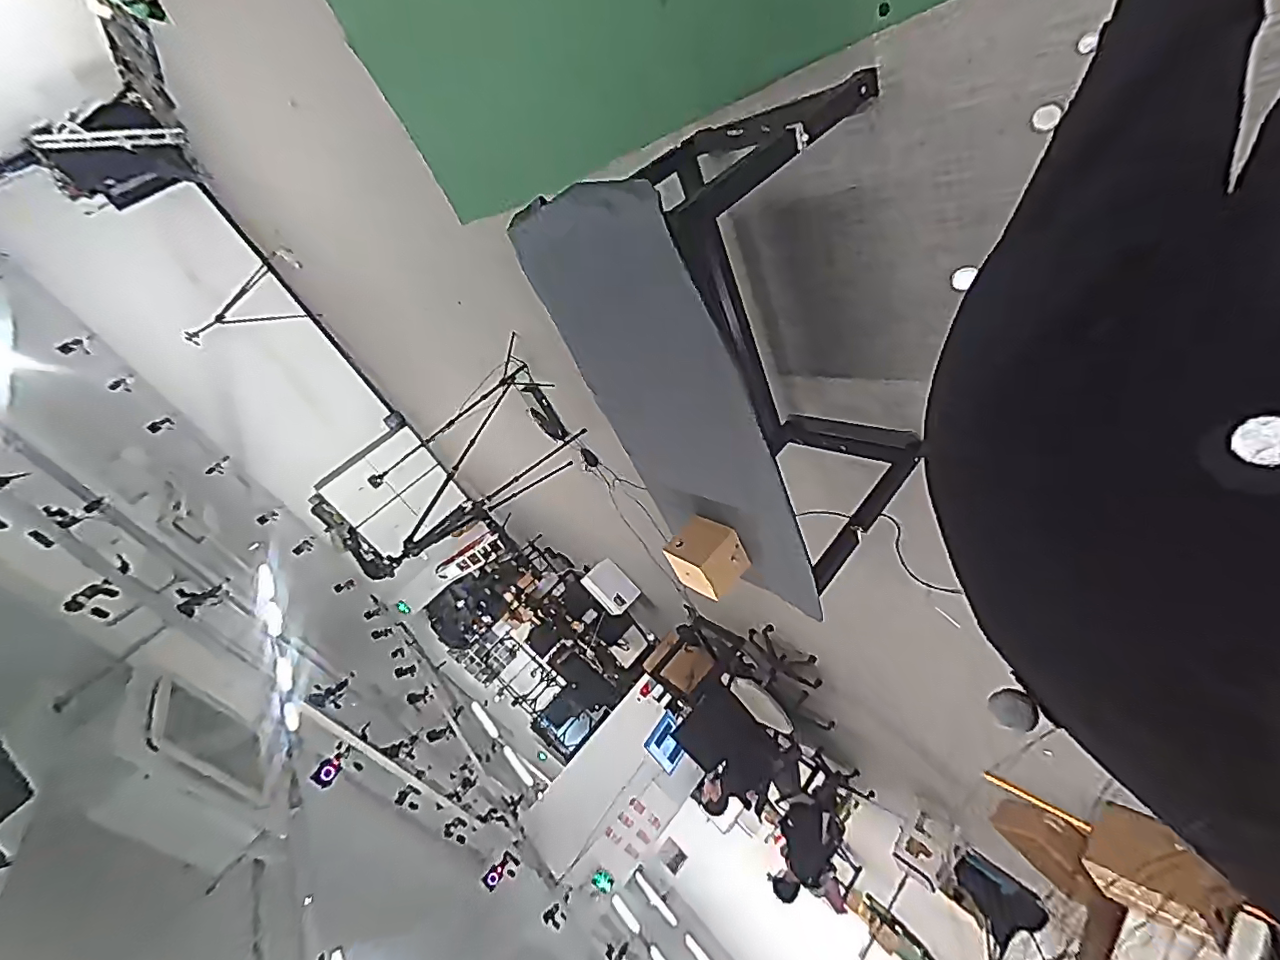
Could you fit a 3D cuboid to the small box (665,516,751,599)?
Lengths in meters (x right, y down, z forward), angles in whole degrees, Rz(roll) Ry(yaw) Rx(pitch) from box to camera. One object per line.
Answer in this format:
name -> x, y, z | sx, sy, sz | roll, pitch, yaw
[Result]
small box -> 0.214, 0.235, 1.695 | 0.179, 0.176, 0.168 | 18, 146, 50
